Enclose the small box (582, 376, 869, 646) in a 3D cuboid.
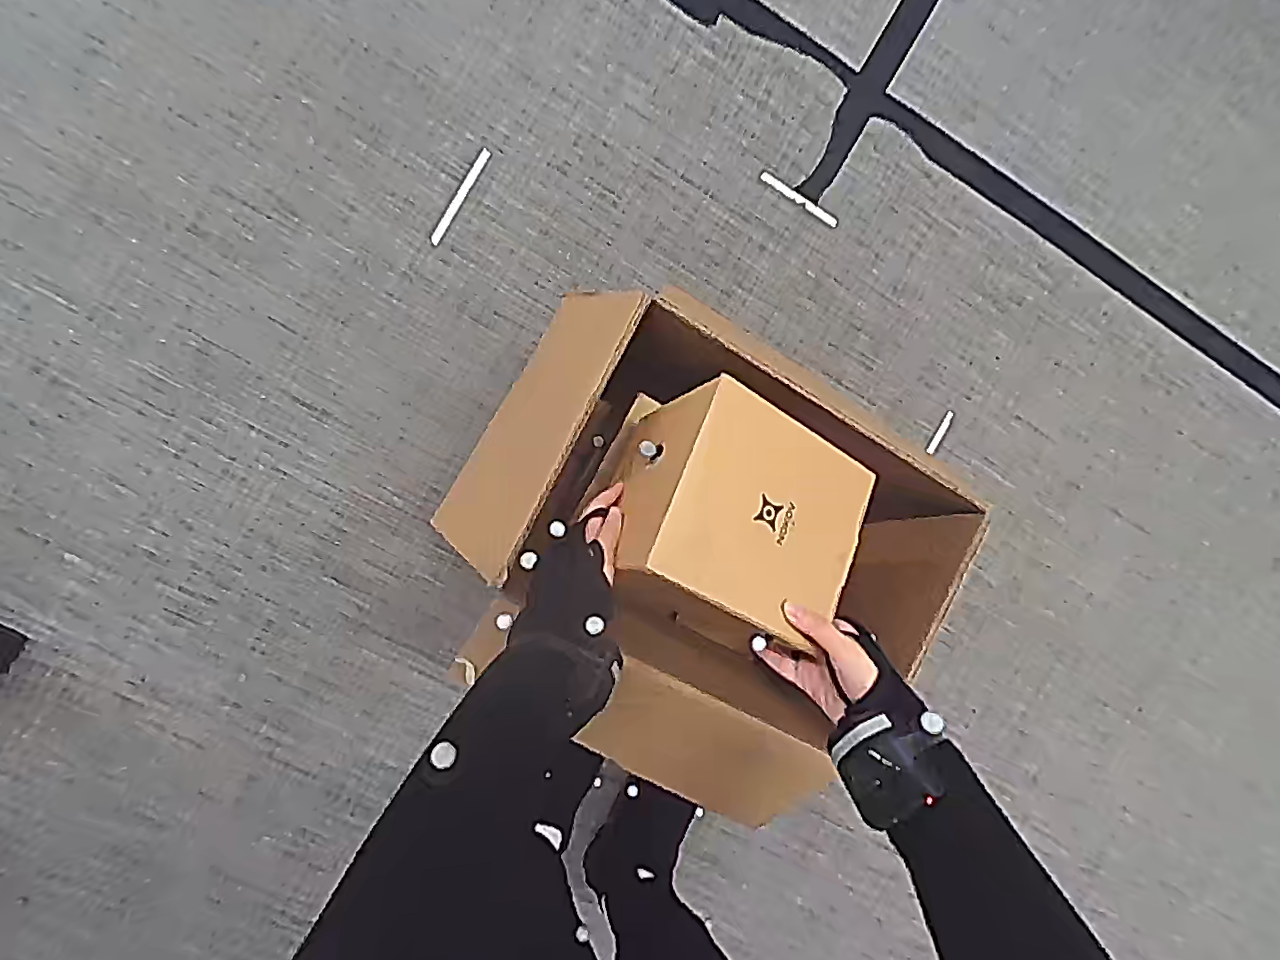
[{"bbox_3d":[0.069,0.035,0.501,0.179,0.176,0.168,28,73,-20],"label":"small box"}]
